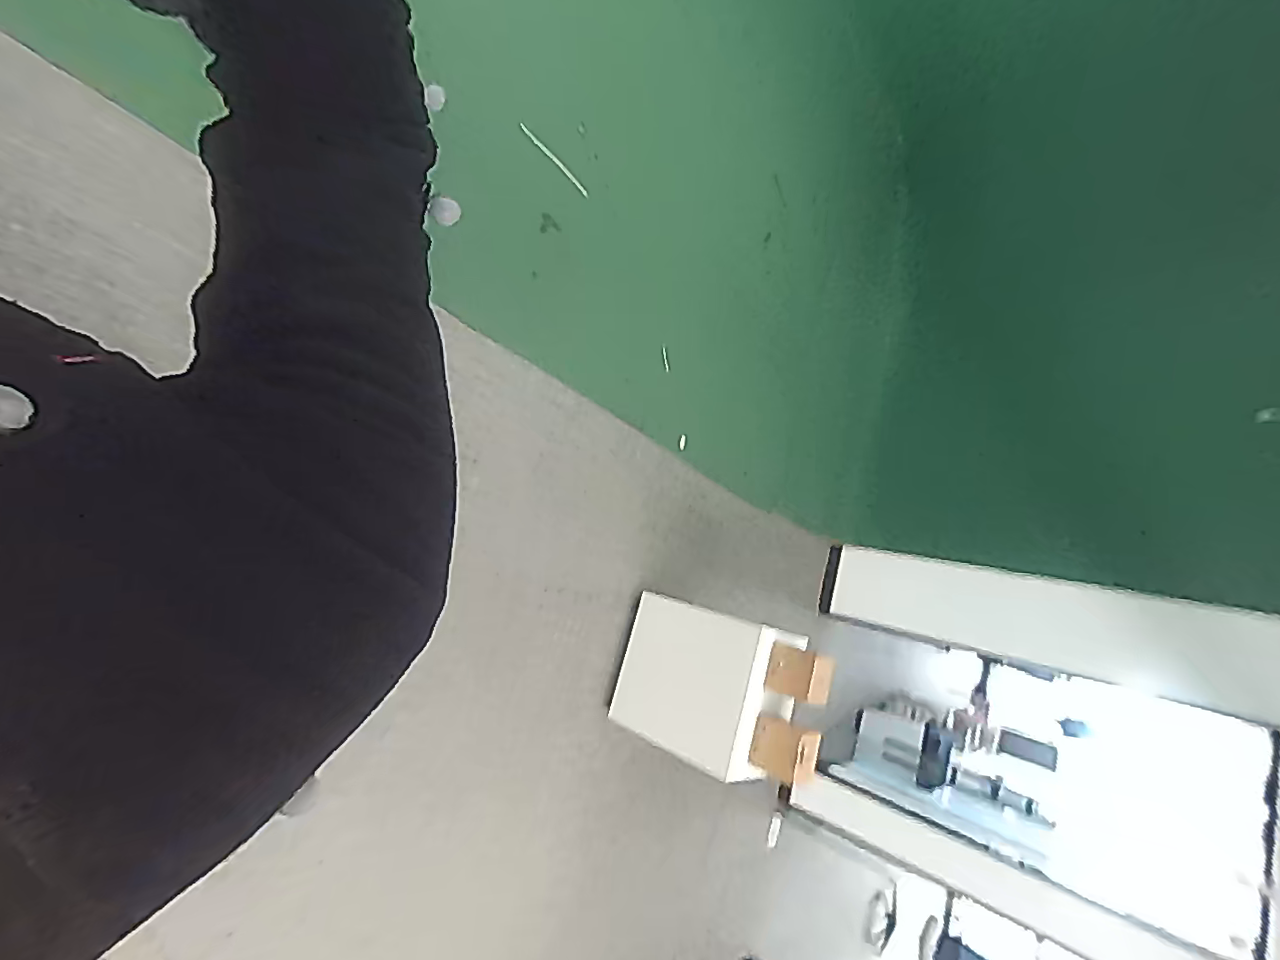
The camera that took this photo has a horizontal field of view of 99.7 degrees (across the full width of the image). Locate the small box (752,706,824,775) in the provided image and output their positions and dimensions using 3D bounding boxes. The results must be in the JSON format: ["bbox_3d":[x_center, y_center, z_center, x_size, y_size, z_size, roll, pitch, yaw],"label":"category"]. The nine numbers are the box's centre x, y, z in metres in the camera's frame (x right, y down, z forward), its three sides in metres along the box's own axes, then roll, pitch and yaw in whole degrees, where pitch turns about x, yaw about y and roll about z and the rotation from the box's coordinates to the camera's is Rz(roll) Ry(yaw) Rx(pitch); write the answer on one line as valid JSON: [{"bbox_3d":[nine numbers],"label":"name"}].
[{"bbox_3d":[0.511,0.898,1.875,0.179,0.176,0.168,26,76,-46],"label":"small box"}]

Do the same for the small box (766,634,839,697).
[{"bbox_3d":[0.573,0.653,1.909,0.179,0.176,0.168,24,78,-45],"label":"small box"}]
